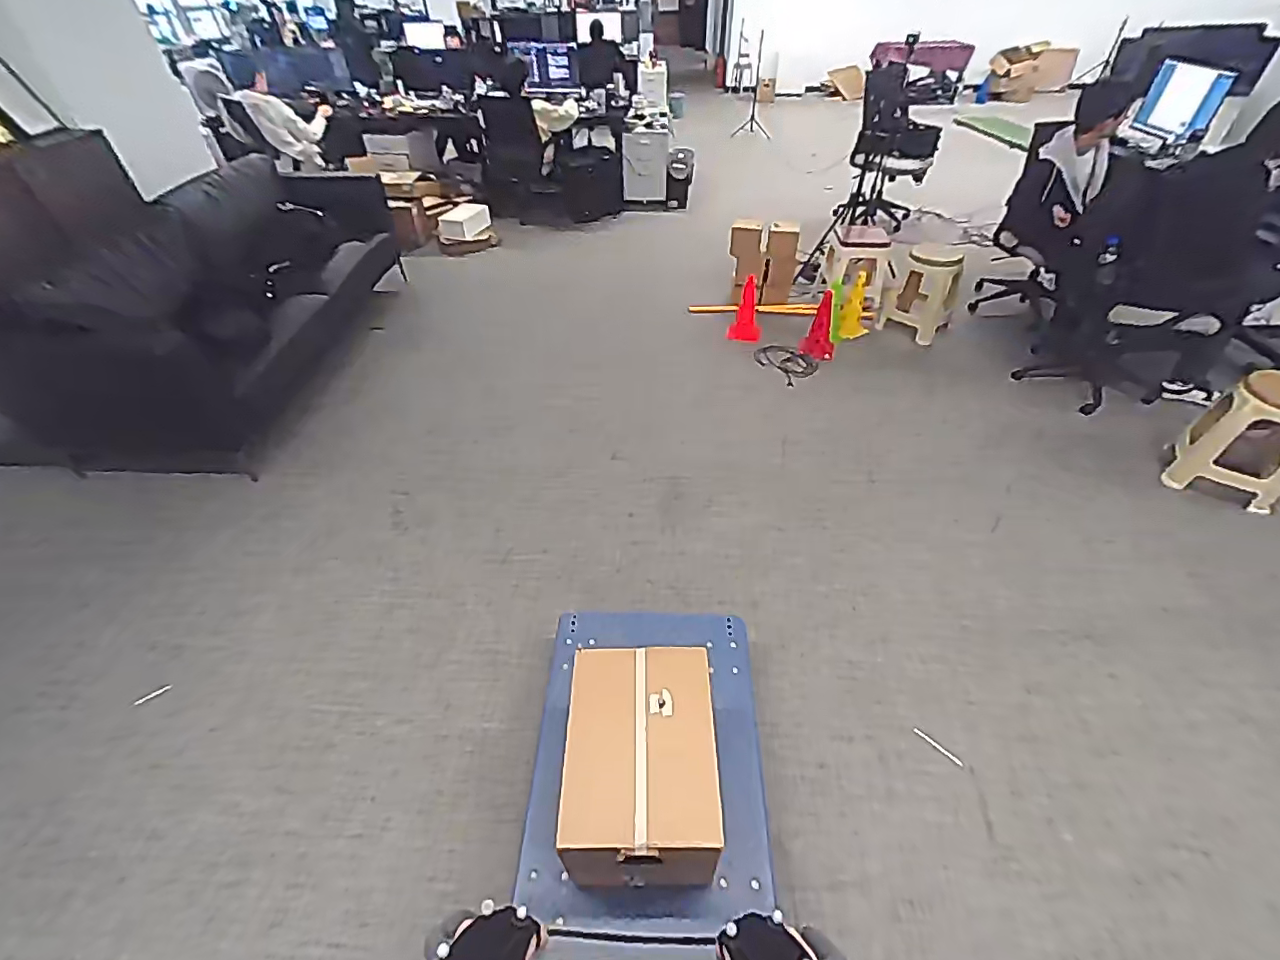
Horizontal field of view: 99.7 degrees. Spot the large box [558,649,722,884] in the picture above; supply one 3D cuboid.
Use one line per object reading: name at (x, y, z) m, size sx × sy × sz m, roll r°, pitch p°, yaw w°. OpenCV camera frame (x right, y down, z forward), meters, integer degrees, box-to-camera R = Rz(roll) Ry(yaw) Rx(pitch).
large box at (0.003, 0.653, 1.244) m, size 0.320 × 0.320 × 0.408 m, roll -1°, pitch 43°, yaw 1°
